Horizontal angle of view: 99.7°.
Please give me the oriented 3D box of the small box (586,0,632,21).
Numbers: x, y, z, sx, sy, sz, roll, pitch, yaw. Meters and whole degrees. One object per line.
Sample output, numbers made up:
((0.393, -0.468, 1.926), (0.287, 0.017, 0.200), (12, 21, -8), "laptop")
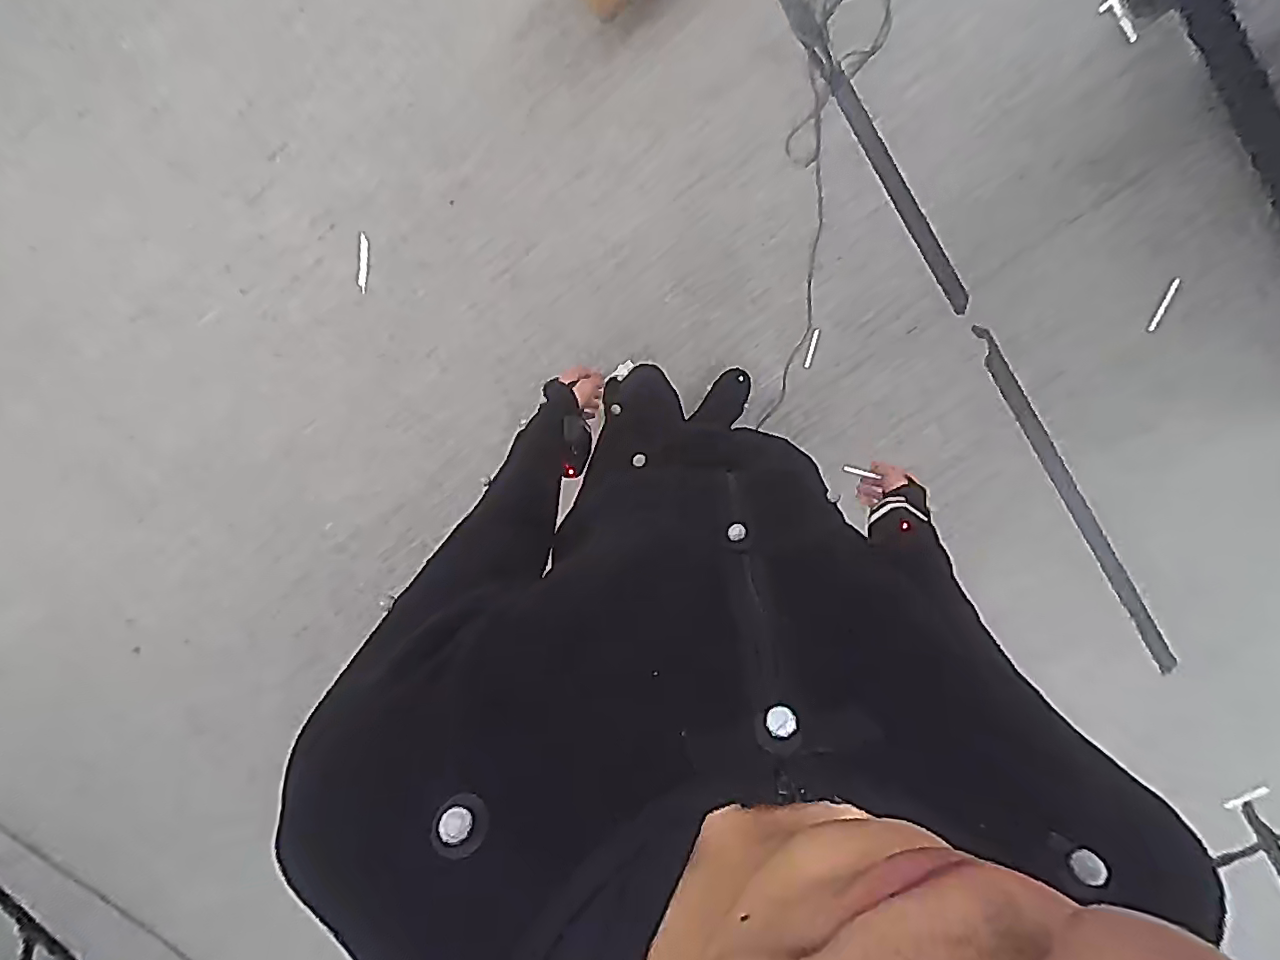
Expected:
((-0.087, -1.256, 1.275), (0.168, 0.176, 0.179), (-29, 100, 12), "small box")
